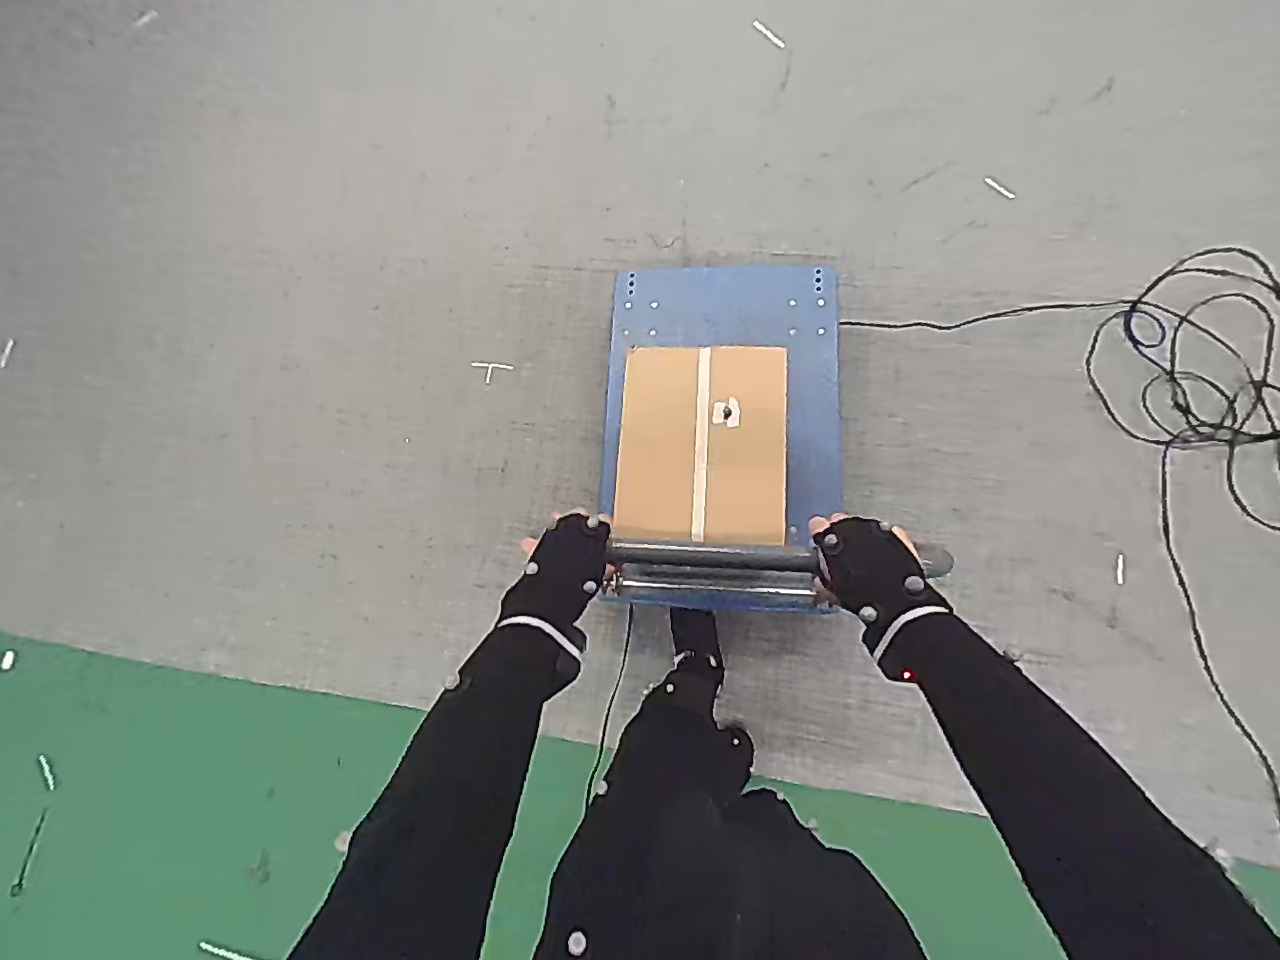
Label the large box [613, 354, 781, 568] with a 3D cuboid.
[{"bbox_3d":[0.131,-0.023,1.182,0.320,0.320,0.408,2,77,7],"label":"large box"}]
